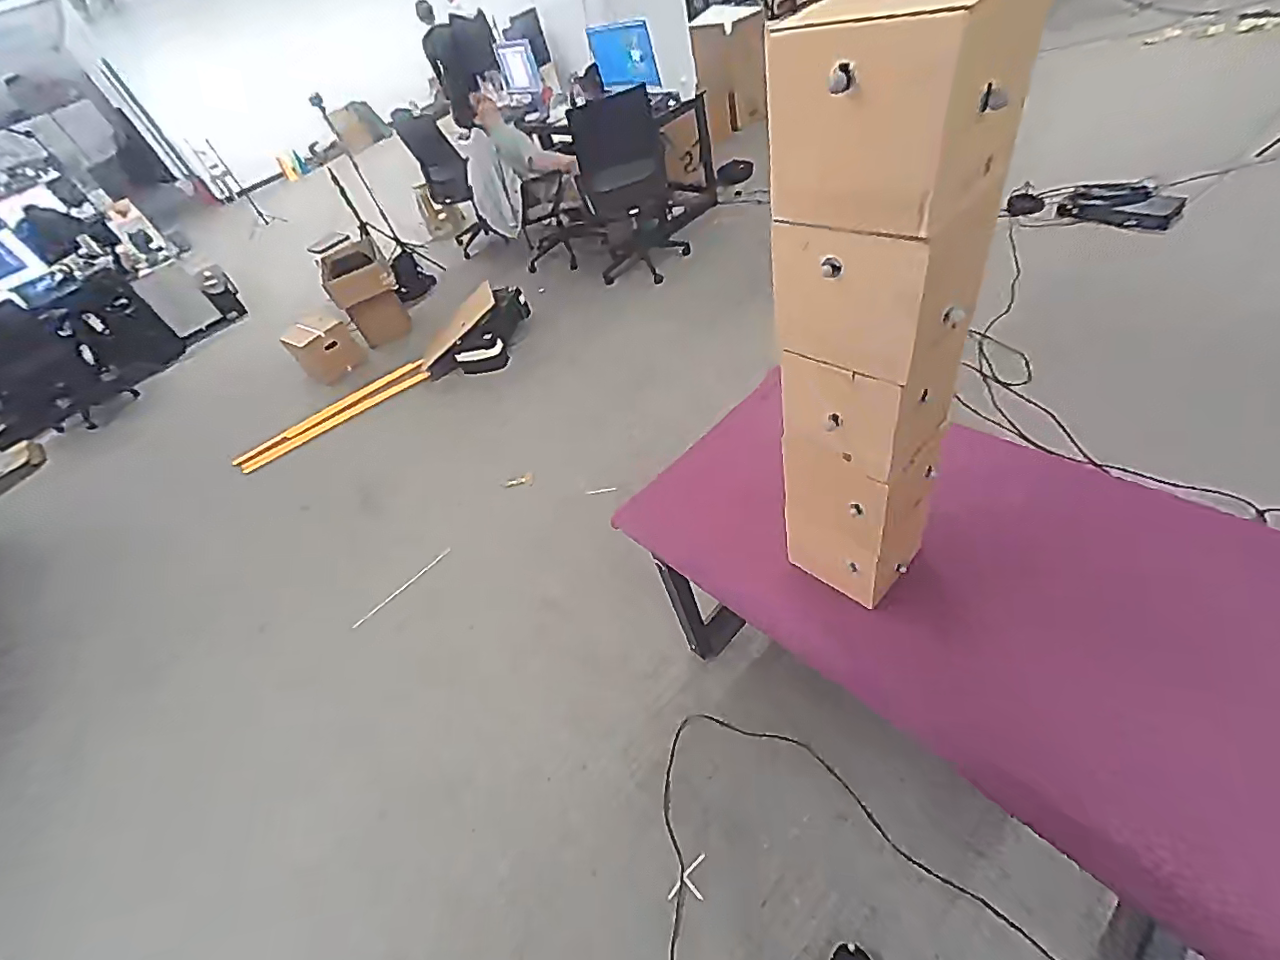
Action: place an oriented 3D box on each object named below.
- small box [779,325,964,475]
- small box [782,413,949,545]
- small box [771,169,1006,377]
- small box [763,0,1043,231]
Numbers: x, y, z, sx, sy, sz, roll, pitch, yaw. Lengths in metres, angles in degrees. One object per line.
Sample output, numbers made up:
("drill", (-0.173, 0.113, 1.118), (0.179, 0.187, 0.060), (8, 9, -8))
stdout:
("small box", (0.314, -0.137, 0.741), (0.179, 0.176, 0.168), (-42, 50, -21))
("small box", (0.348, -0.024, 0.853), (0.168, 0.176, 0.179), (-41, 48, -20))
("small box", (0.273, -0.244, 0.623), (0.168, 0.176, 0.179), (-42, 50, -22))
("small box", (0.240, -0.353, 0.507), (0.168, 0.176, 0.179), (-42, 49, -21))
